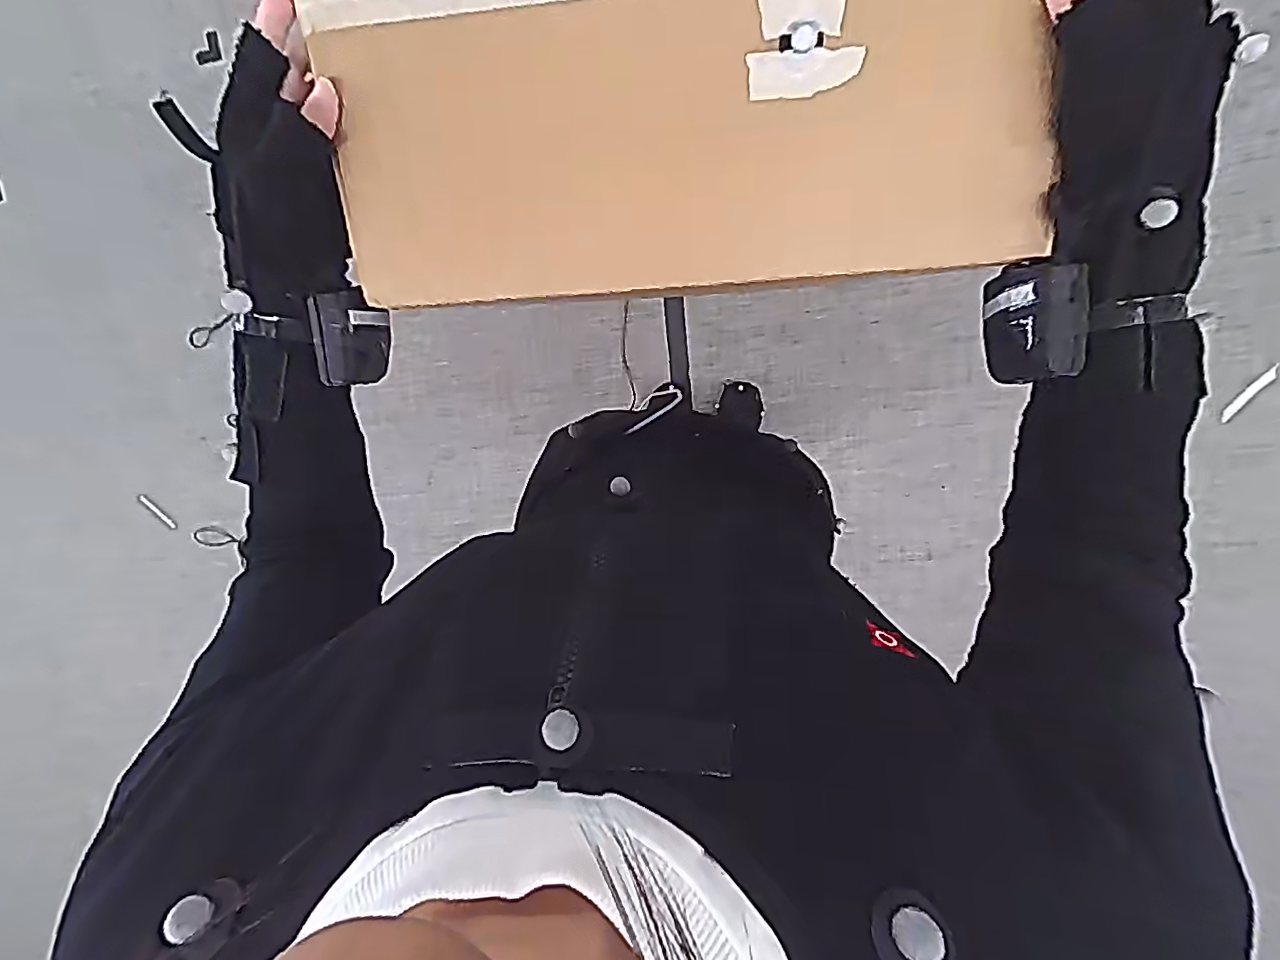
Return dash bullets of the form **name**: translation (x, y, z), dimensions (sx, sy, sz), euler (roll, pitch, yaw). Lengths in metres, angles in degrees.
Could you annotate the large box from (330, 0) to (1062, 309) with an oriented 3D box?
- **large box**: translation (0.030, -0.316, 0.432), dimensions (0.408, 0.320, 0.320), euler (-3, 109, 6)
